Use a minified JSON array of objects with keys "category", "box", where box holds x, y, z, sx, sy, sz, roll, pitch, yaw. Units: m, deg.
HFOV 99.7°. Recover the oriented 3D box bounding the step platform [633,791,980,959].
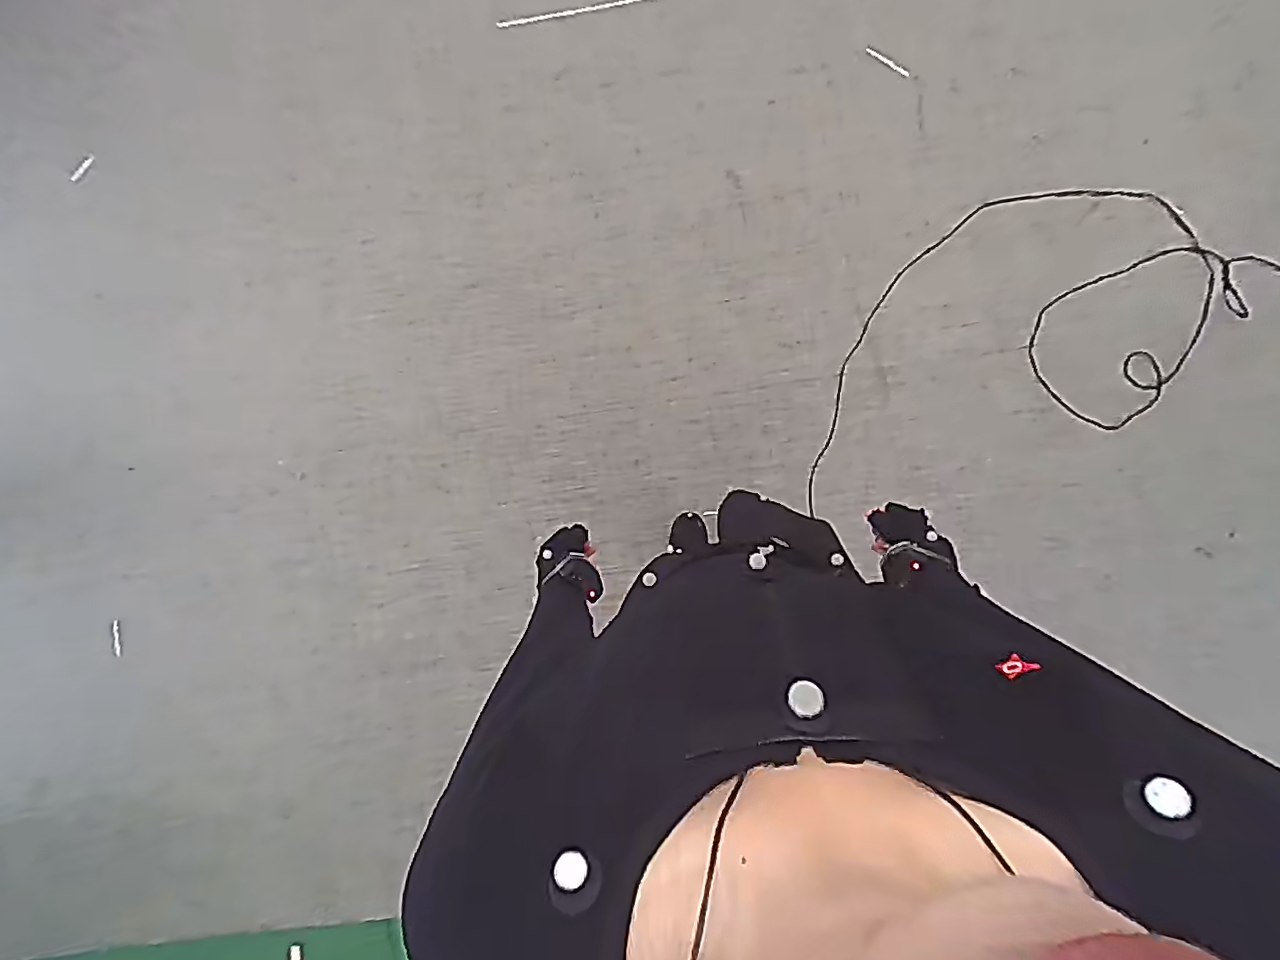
[{"category":"step platform","box":[0.330,0.894,1.170,0.684,0.204,0.286,-9,87,0]}]
